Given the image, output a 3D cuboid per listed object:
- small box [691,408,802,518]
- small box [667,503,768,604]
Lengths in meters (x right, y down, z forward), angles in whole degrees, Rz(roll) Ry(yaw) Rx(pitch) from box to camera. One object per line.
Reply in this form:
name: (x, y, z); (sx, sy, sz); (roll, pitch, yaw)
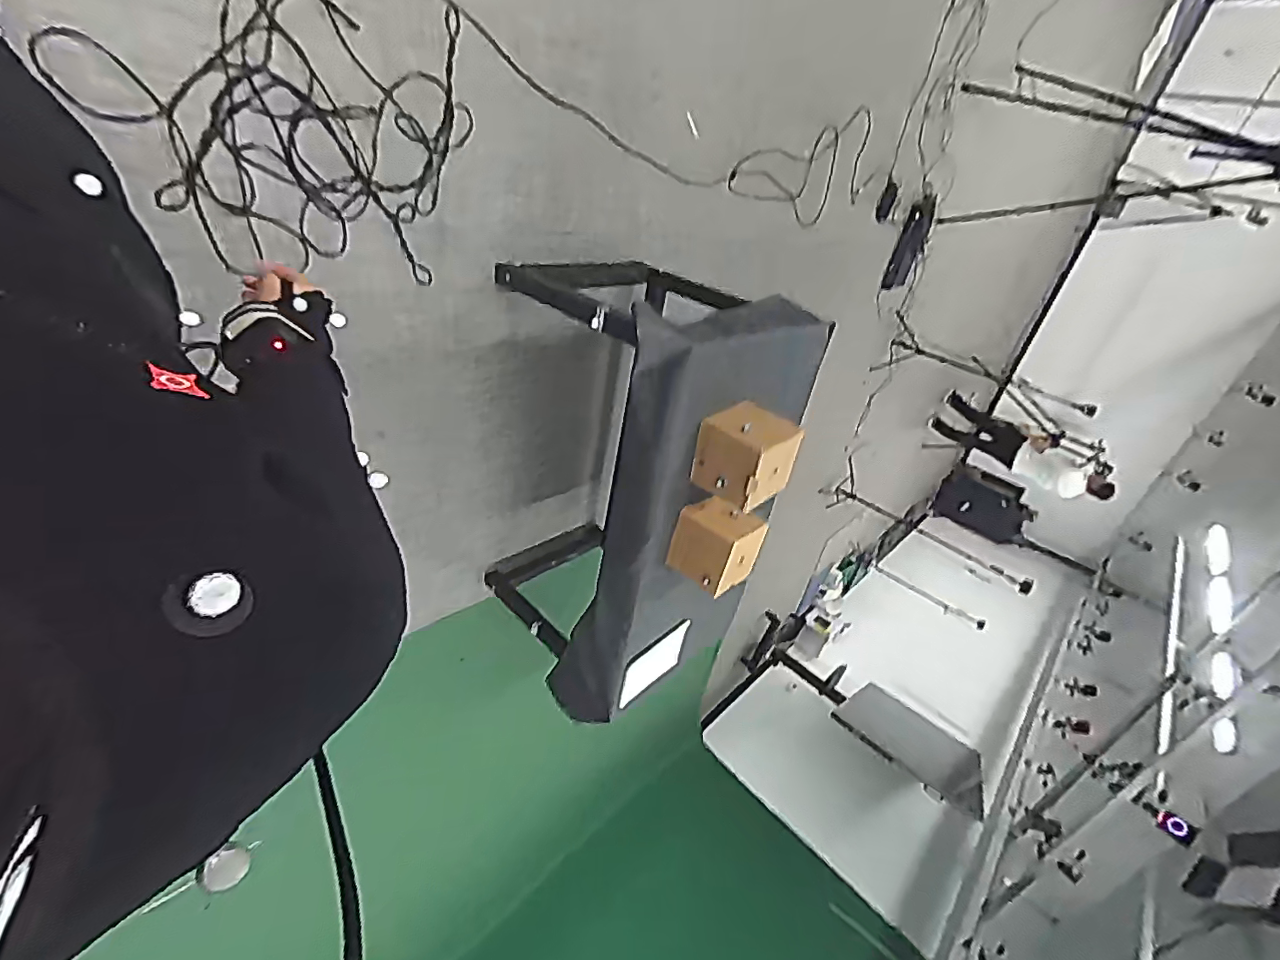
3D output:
small box: (0.240, -0.046, 1.251); (0.179, 0.176, 0.168); (-27, 138, -40)
small box: (0.192, 0.175, 1.378); (0.168, 0.176, 0.179); (-18, 131, -45)
